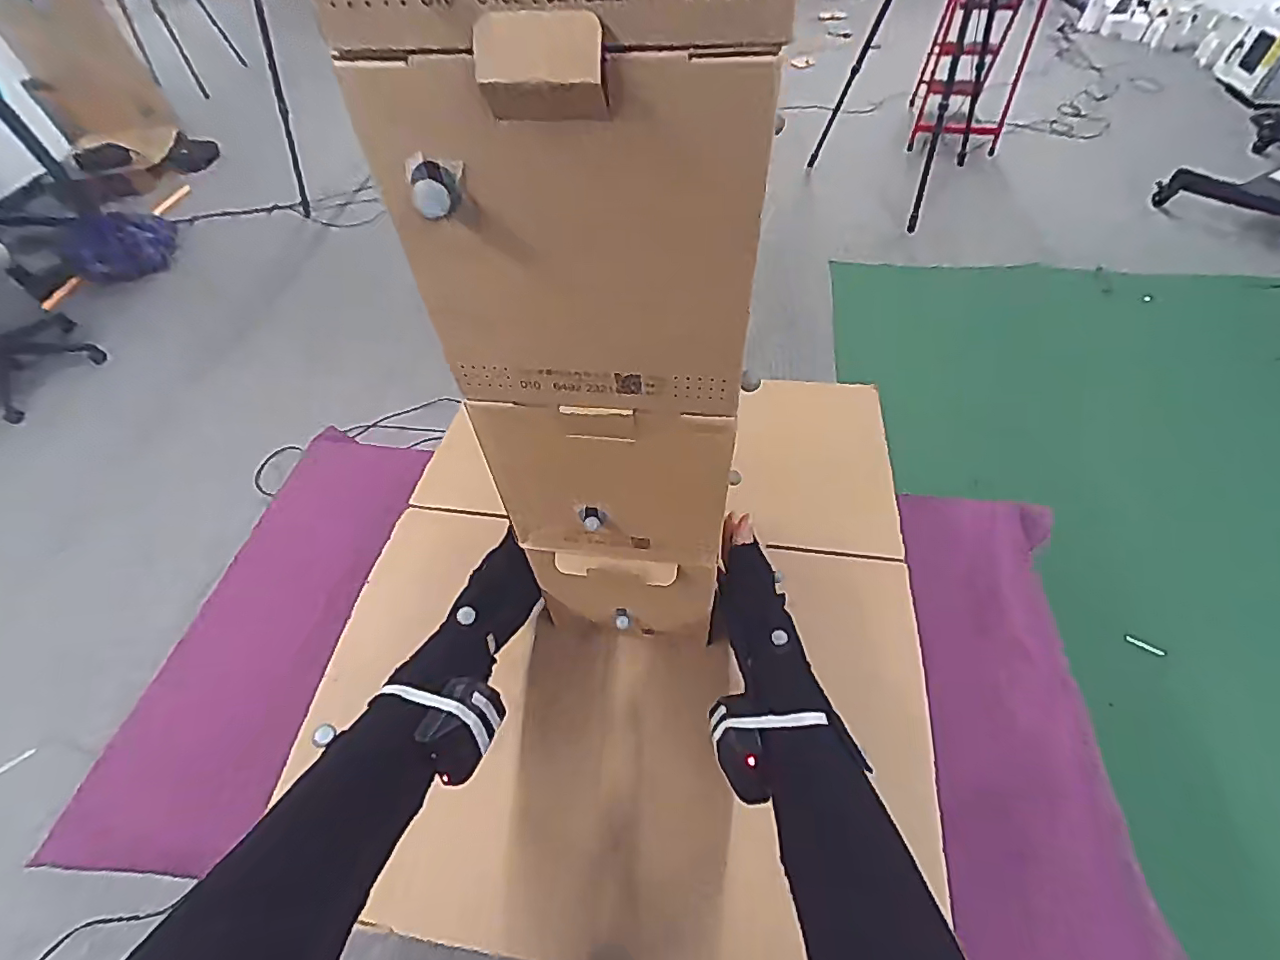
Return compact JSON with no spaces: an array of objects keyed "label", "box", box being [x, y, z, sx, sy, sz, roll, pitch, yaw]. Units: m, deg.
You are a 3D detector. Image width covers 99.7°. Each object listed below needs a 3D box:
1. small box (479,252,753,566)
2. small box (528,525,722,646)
[{"label":"small box","box":[-0.005,-0.055,0.431,0.168,0.176,0.179,5,52,6]},{"label":"small box","box":[0.001,0.047,0.558,0.168,0.176,0.179,6,52,8]}]
